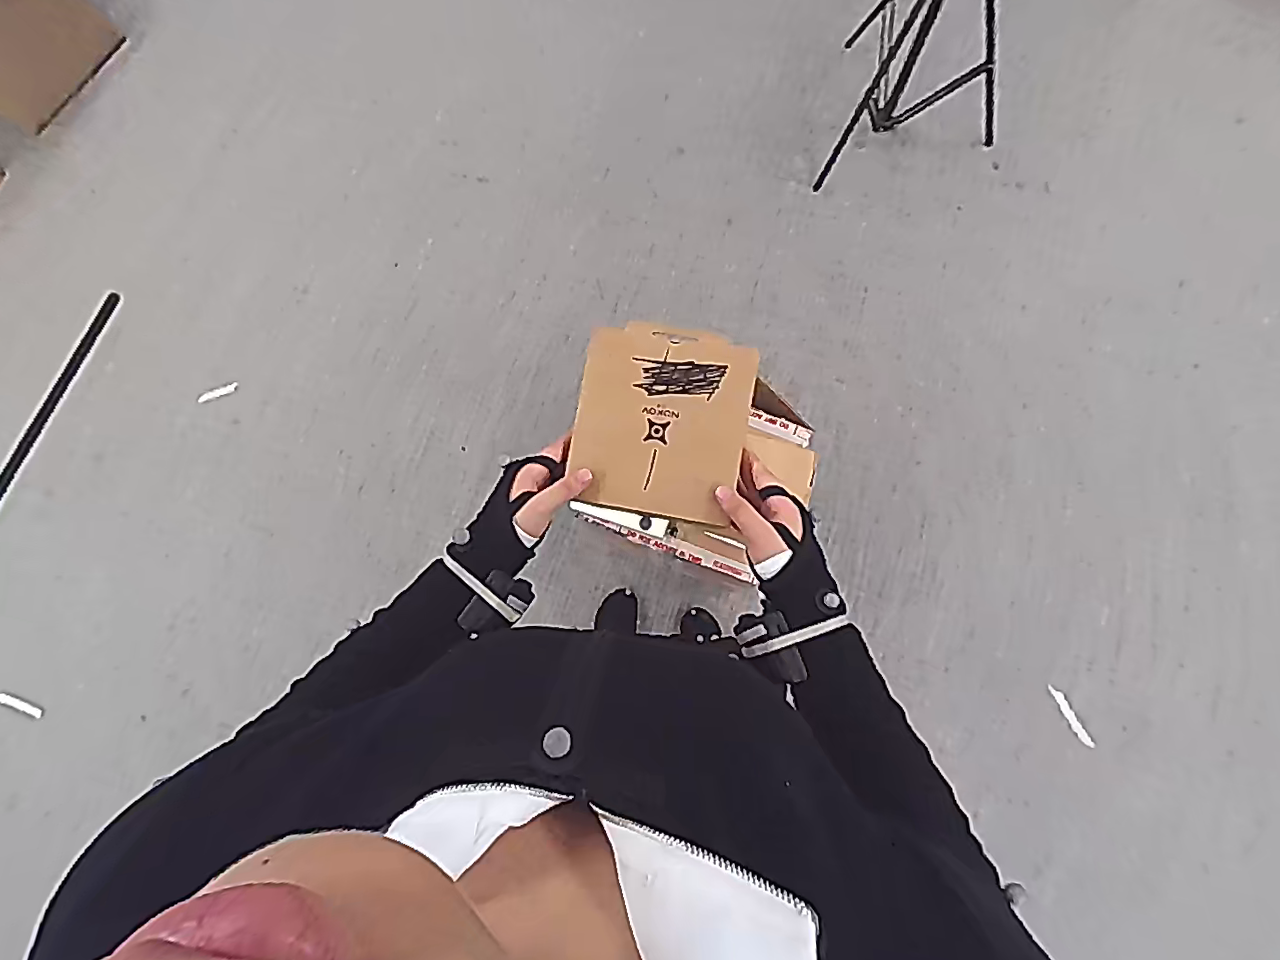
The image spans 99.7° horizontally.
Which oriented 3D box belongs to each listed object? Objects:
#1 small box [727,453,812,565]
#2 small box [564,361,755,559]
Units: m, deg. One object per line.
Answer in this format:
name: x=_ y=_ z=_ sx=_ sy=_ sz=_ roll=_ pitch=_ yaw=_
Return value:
small box: x=0.189 y=0.054 z=0.988 sx=0.179 sy=0.176 sz=0.168 roll=16 pitch=79 yaw=5
small box: x=0.024 y=-0.015 z=0.611 sx=0.168 sy=0.176 sz=0.179 roll=9 pitch=86 yaw=6
